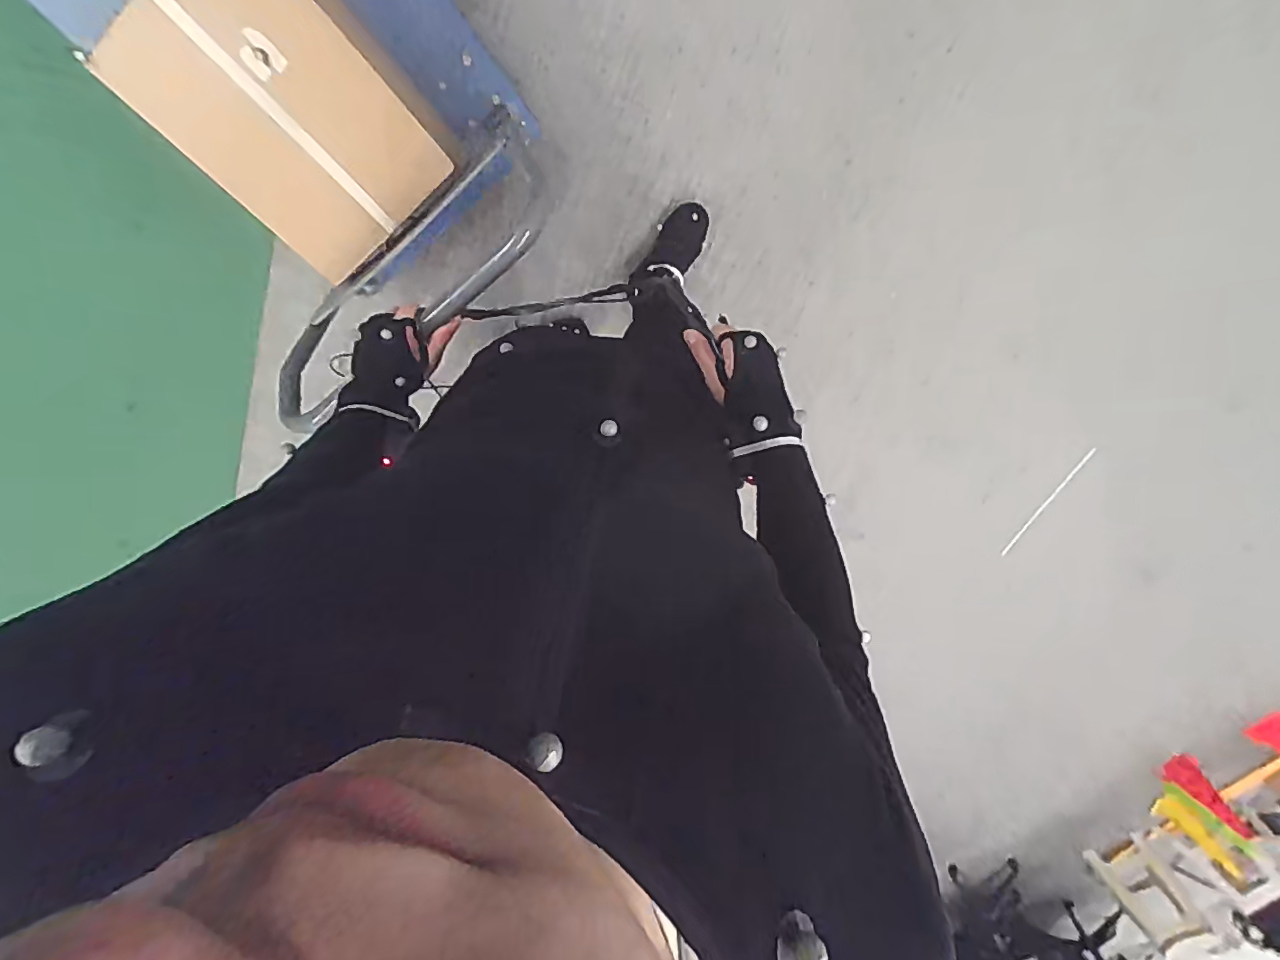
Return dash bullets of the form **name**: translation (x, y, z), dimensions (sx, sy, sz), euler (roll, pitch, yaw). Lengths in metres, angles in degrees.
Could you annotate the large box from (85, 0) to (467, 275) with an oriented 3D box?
- **large box**: translation (-0.573, -0.652, 0.952), dimensions (0.320, 0.320, 0.408), euler (-36, 125, 13)
